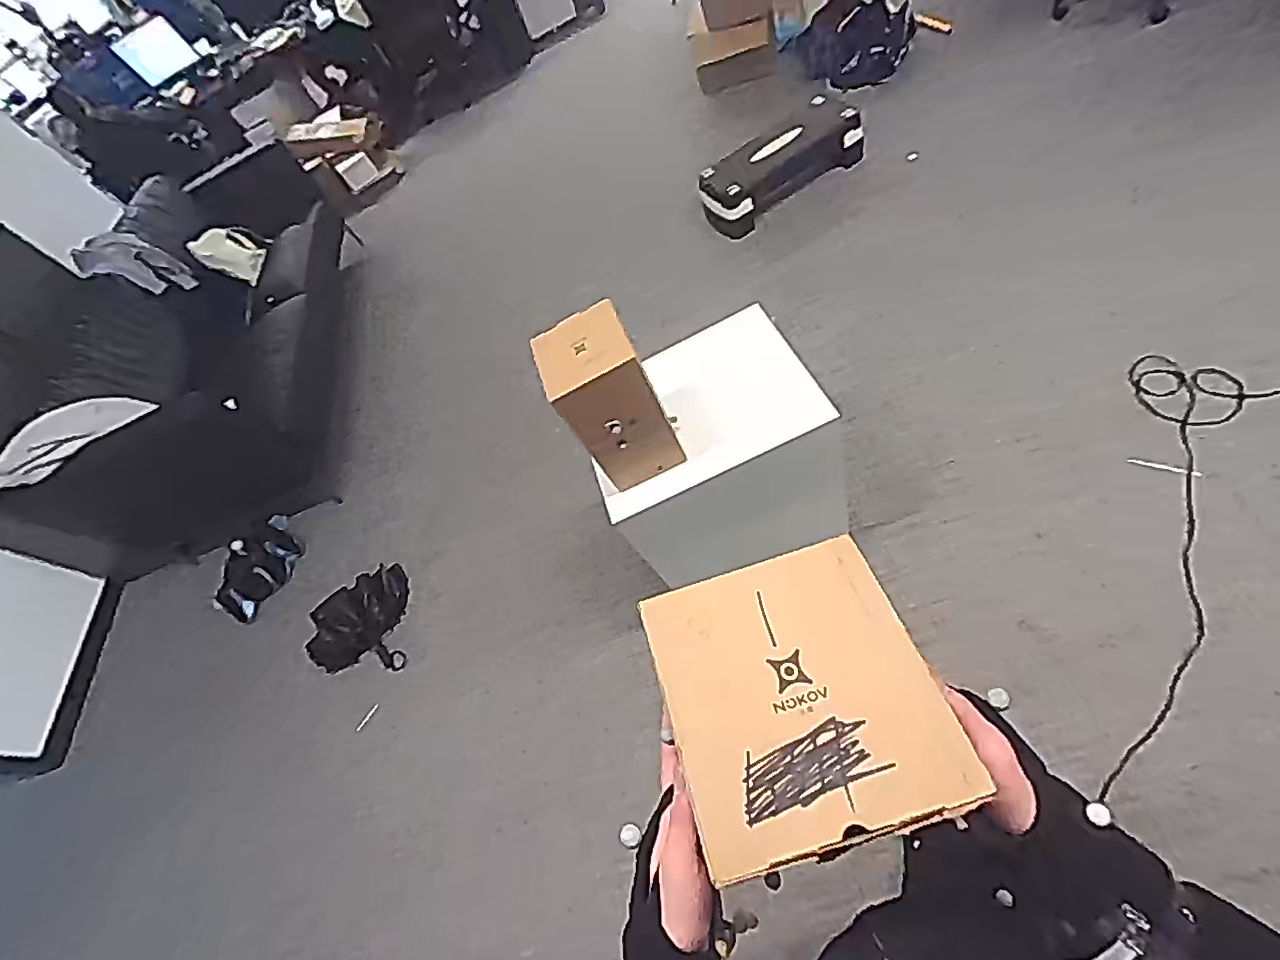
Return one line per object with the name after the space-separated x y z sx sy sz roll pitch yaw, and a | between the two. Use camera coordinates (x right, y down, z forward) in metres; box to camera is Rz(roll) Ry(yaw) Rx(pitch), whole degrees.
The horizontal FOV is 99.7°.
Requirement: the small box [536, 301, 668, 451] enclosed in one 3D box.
-0.069 -0.188 1.003 0.168 0.176 0.179 -28 54 7 | small box

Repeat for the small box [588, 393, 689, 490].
-0.015 -0.111 1.137 0.168 0.176 0.179 -26 53 7 | small box
